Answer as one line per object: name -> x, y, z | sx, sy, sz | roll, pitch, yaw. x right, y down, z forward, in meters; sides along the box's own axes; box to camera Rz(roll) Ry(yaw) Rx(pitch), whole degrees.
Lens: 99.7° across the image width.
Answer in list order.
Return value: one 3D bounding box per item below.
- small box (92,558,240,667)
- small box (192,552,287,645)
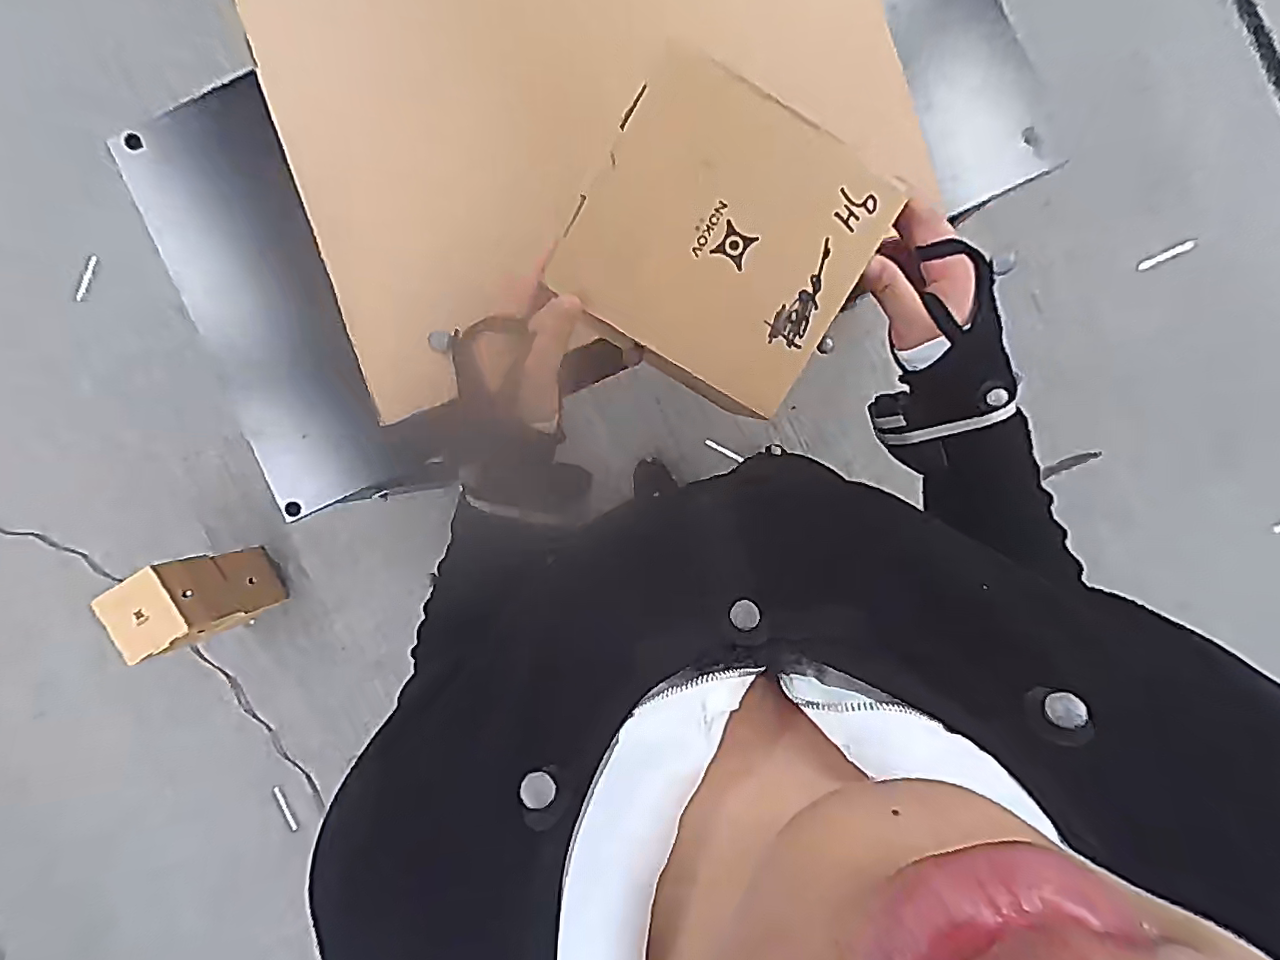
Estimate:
small box -> -1.119, 0.308, 1.294 | 0.168, 0.176, 0.179 | -32, 90, 1
small box -> -1.110, 0.308, 1.456 | 0.168, 0.176, 0.179 | -28, 91, 2
